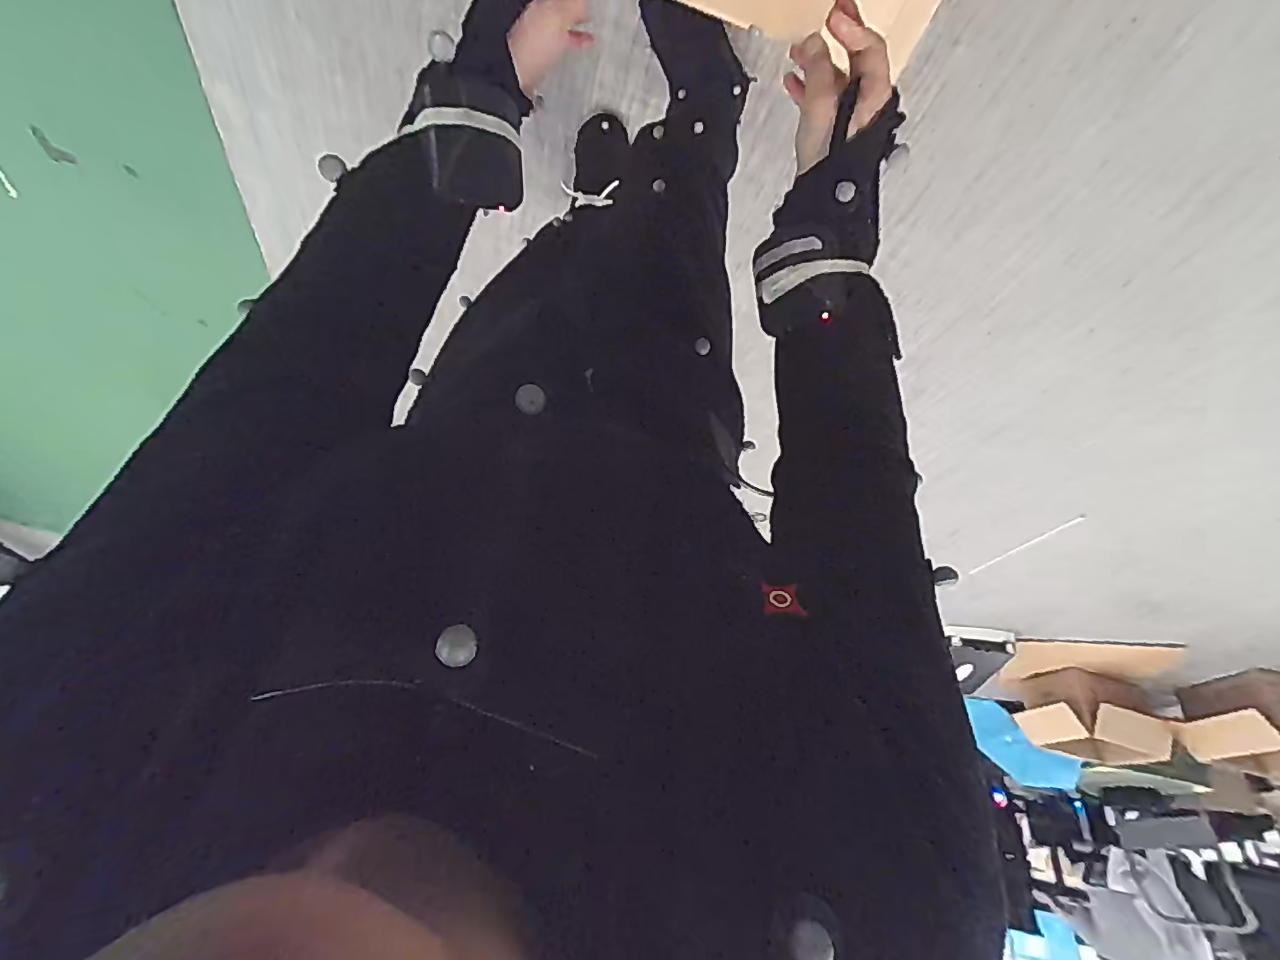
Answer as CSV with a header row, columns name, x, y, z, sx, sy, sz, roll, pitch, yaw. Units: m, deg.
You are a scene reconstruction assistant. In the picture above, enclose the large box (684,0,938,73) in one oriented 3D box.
name,x,y,z,sx,sy,sz,roll,pitch,yaw
large box,0.183,-0.747,0.604,0.408,0.320,0.320,16,146,-6
